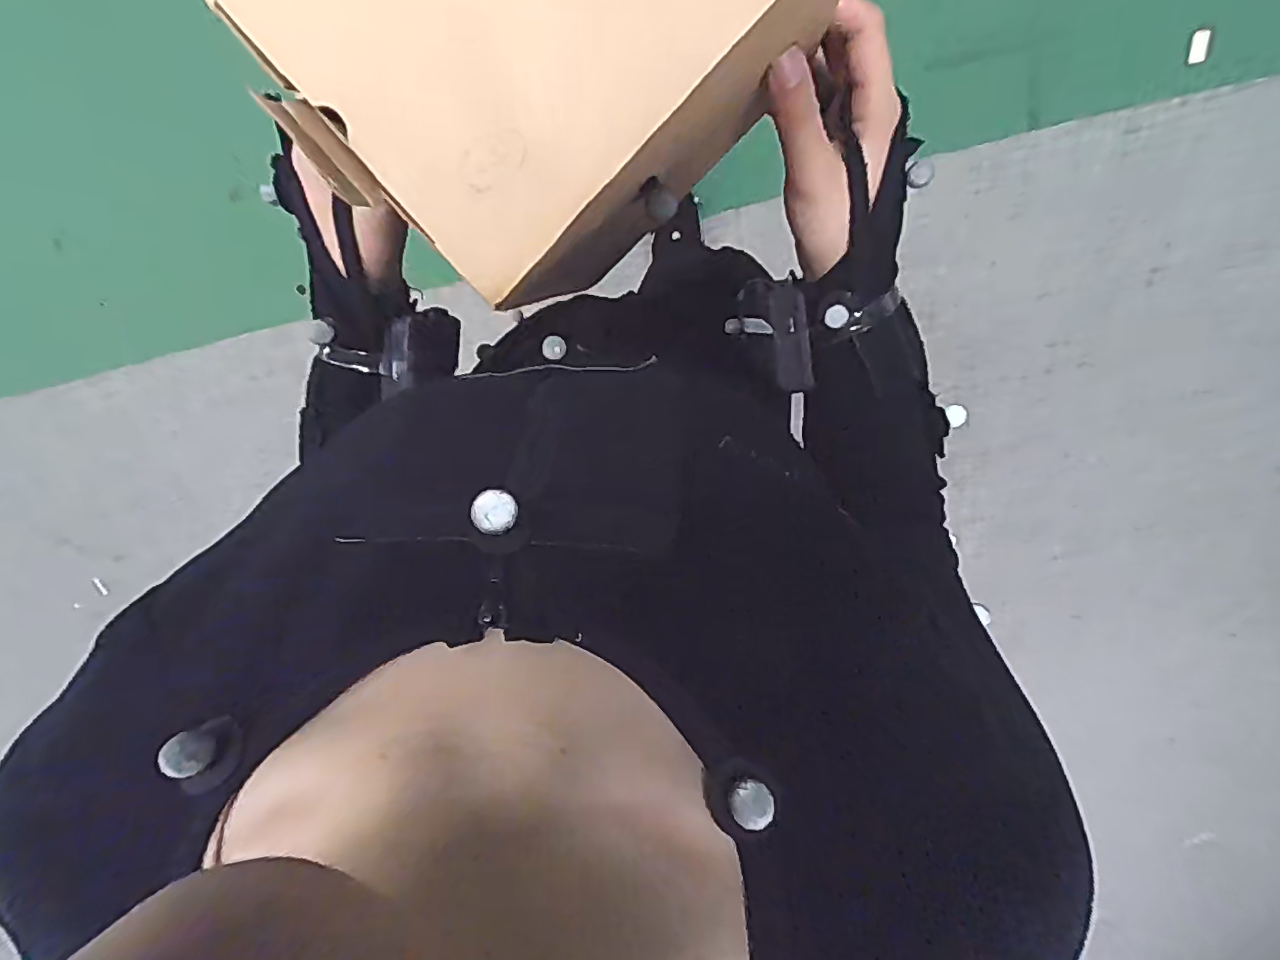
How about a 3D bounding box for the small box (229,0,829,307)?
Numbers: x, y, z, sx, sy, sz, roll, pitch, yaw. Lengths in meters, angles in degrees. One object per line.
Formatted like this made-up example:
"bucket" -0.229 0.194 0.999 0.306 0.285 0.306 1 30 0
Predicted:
"small box" -0.029 -0.206 0.251 0.179 0.176 0.168 -39 102 21
